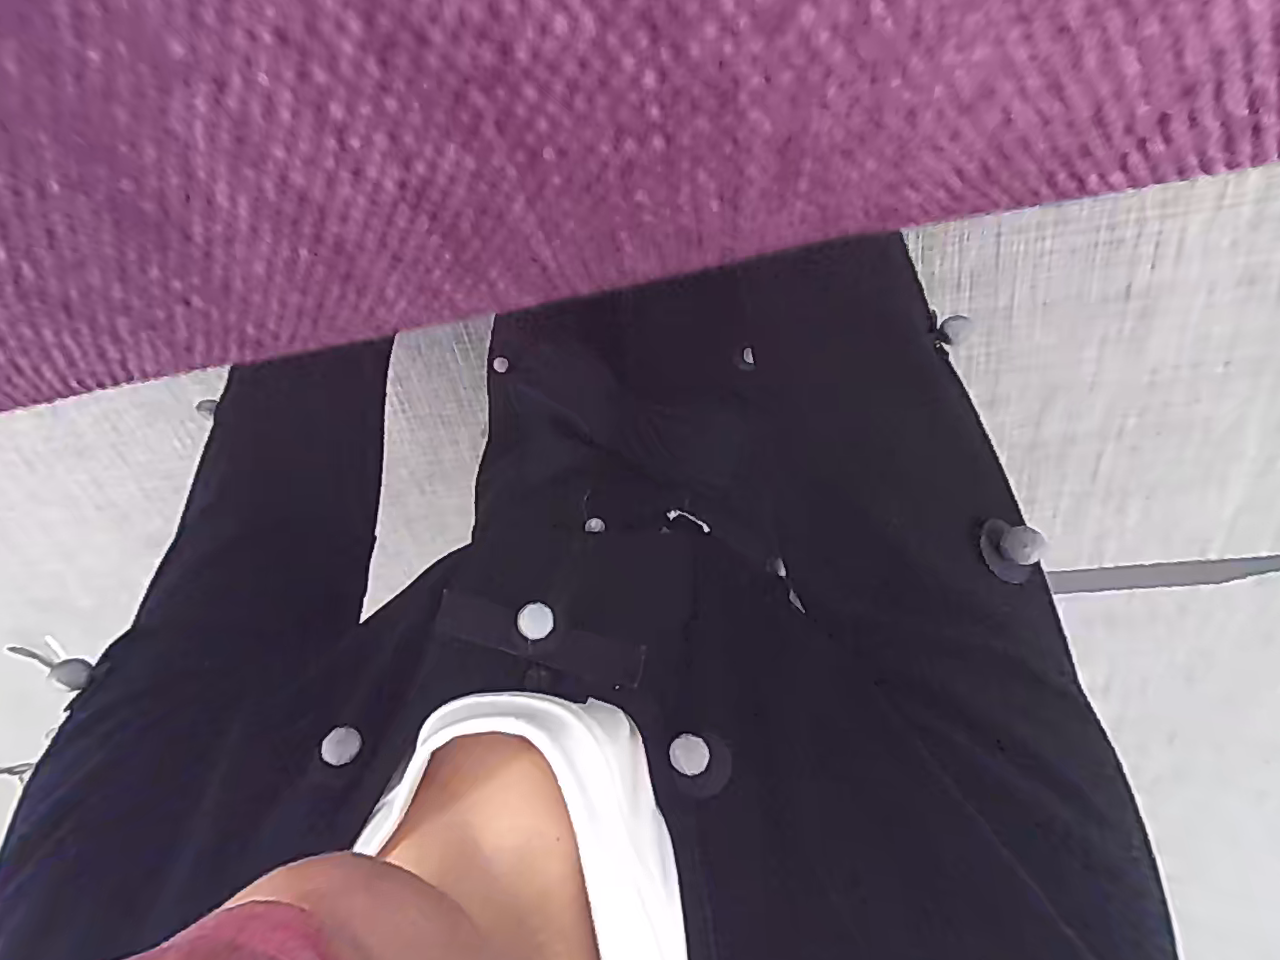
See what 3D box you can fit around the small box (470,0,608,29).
[{"bbox_3d":[-0.088,-0.483,0.403,0.168,0.176,0.179,-8,119,11],"label":"small box"}]
